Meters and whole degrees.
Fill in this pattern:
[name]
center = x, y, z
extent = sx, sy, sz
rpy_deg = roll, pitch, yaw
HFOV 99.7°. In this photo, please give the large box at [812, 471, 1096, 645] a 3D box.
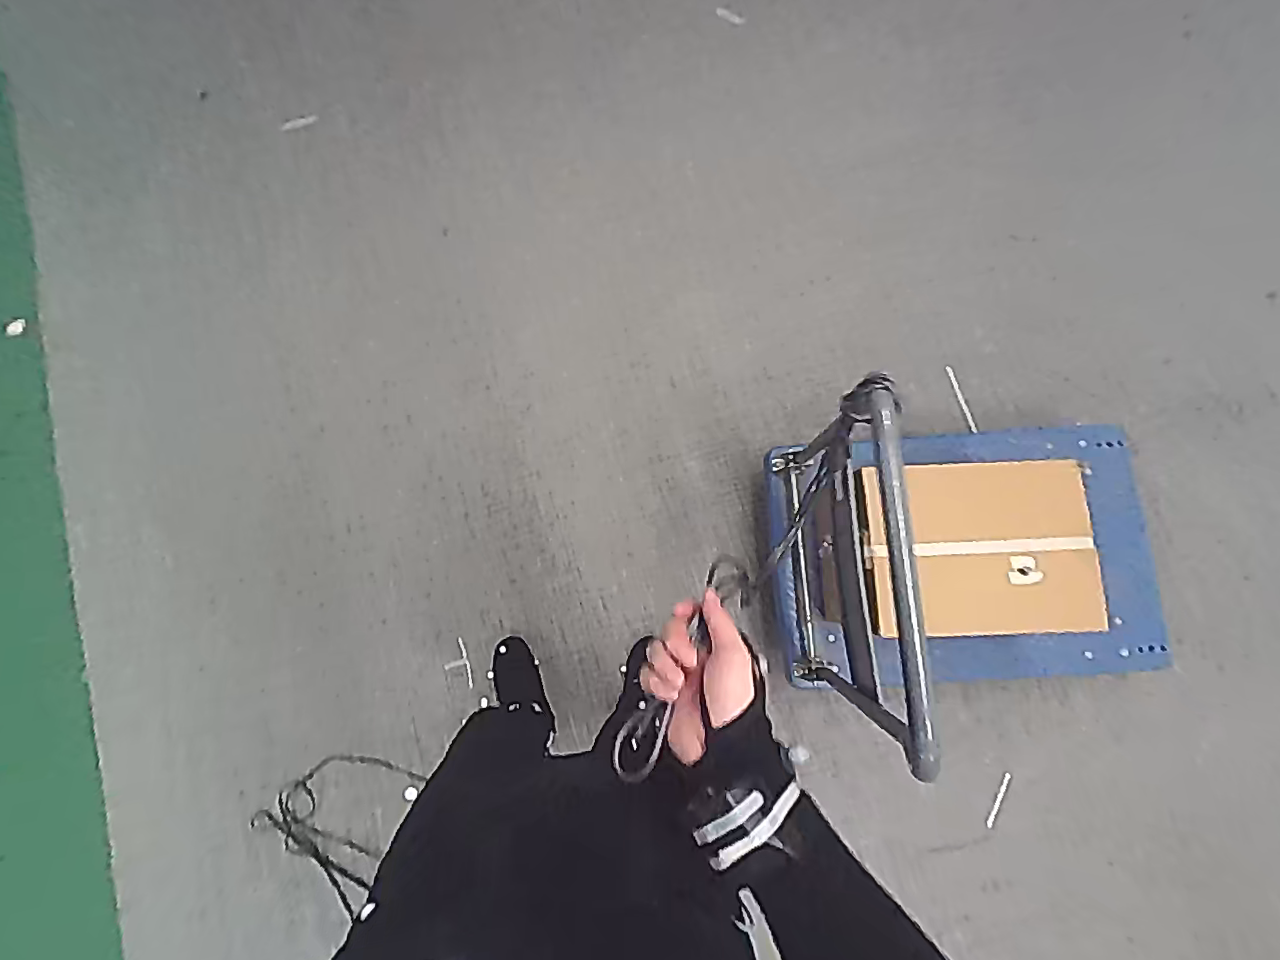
[large box]
center = 0.620, 0.168, 1.147
extent = 0.408, 0.320, 0.320
rpy_deg = -1, 80, 0
